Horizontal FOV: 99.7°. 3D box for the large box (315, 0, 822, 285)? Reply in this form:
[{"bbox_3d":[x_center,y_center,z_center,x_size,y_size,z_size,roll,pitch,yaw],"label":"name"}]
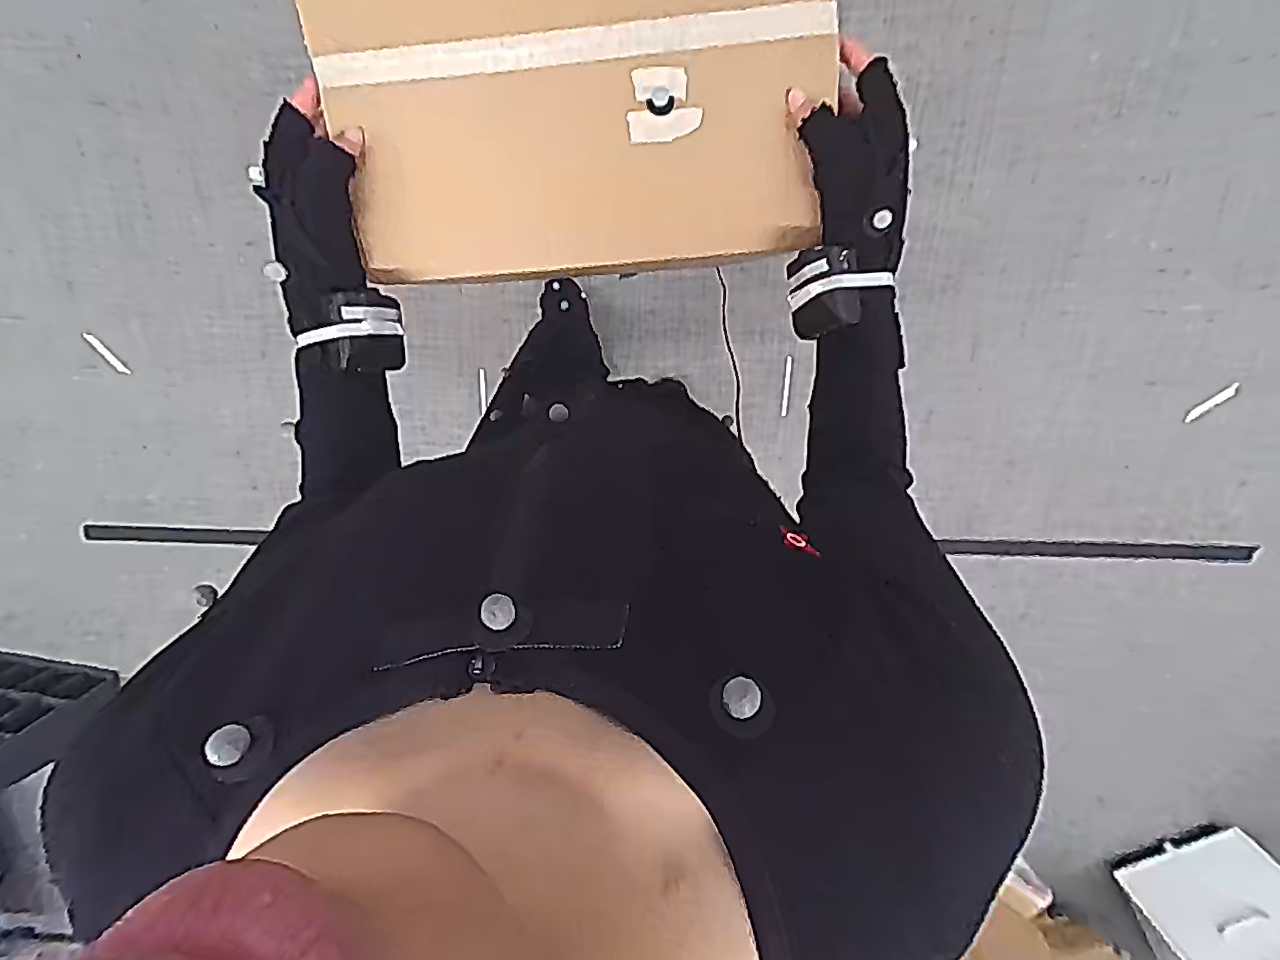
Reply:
[{"bbox_3d":[-0.054,-0.392,0.573,0.408,0.320,0.320,-4,109,2],"label":"large box"}]
